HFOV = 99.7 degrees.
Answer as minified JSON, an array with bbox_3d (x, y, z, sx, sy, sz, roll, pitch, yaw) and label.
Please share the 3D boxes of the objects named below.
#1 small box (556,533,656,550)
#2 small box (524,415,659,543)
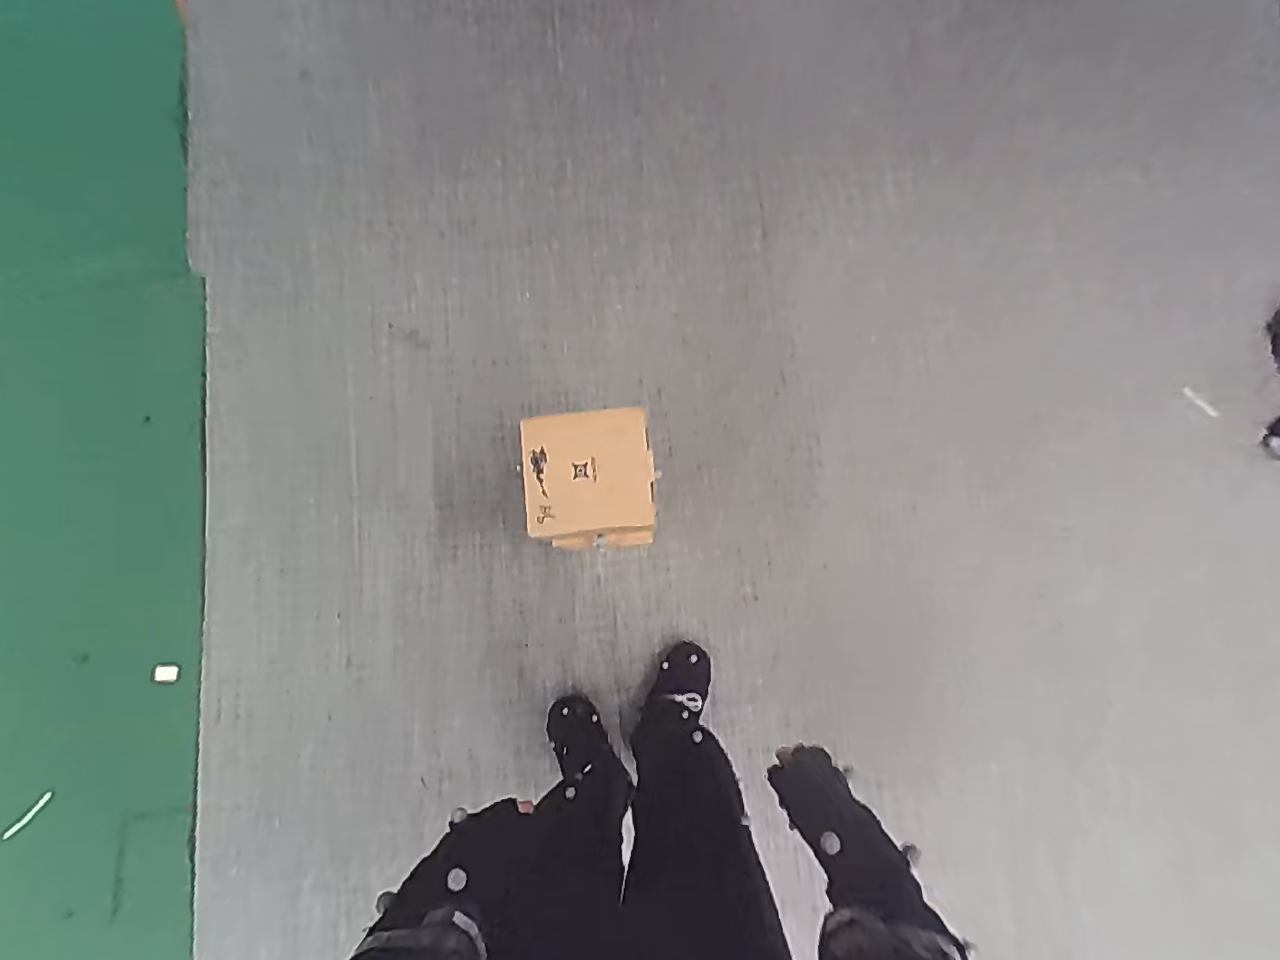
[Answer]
[{"bbox_3d":[-0.062,0.033,0.975,0.168,0.176,0.179,-6,83,2],"label":"small box"},{"bbox_3d":[-0.067,0.006,0.813,0.179,0.176,0.168,-5,82,1],"label":"small box"}]
